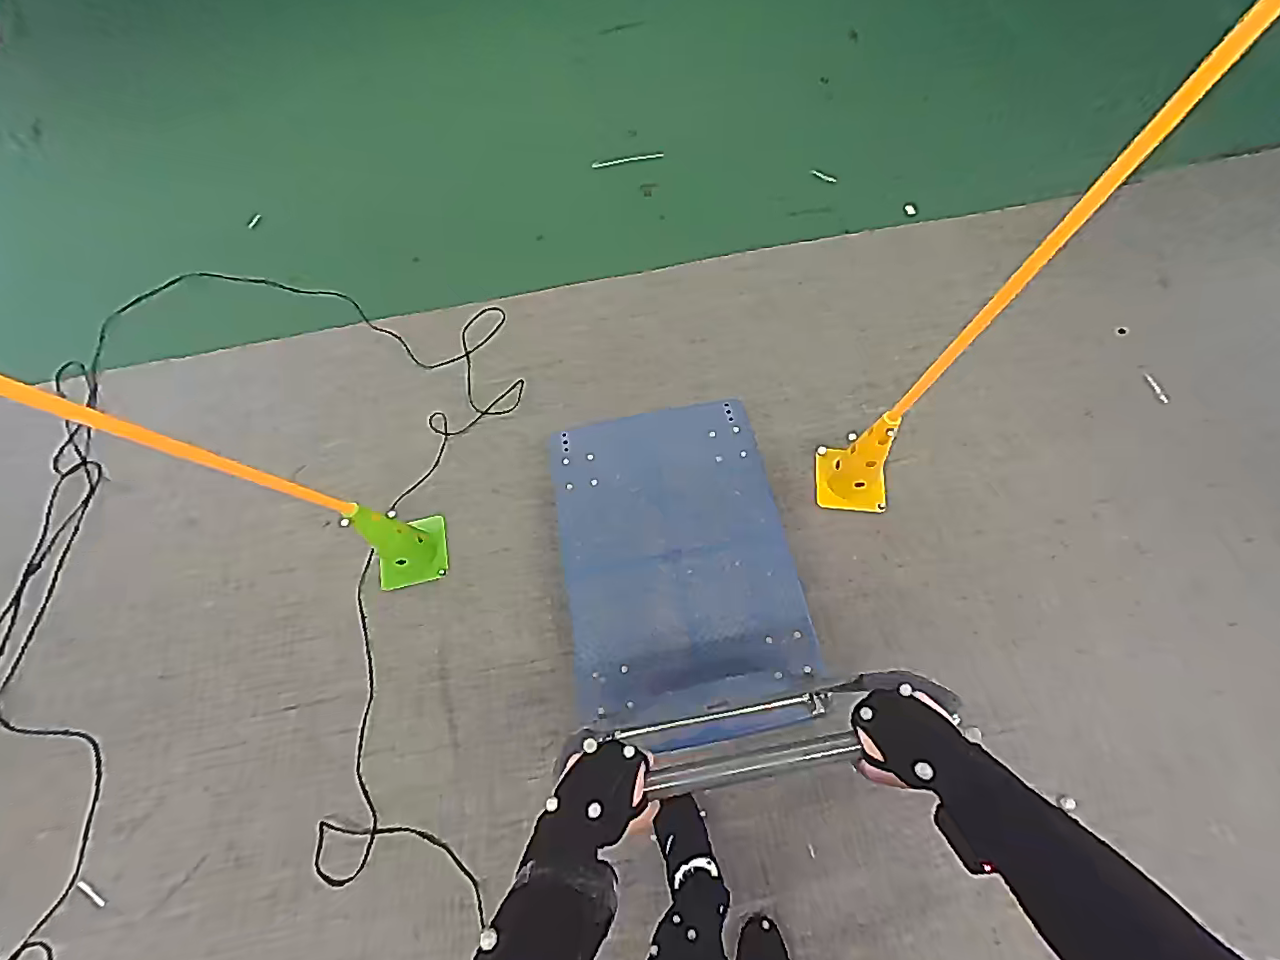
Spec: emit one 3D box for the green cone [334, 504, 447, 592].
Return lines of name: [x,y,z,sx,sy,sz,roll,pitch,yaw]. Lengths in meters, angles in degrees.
green cone: [-0.693,0.145,1.454,0.202,0.368,0.200,-15,64,-1]
